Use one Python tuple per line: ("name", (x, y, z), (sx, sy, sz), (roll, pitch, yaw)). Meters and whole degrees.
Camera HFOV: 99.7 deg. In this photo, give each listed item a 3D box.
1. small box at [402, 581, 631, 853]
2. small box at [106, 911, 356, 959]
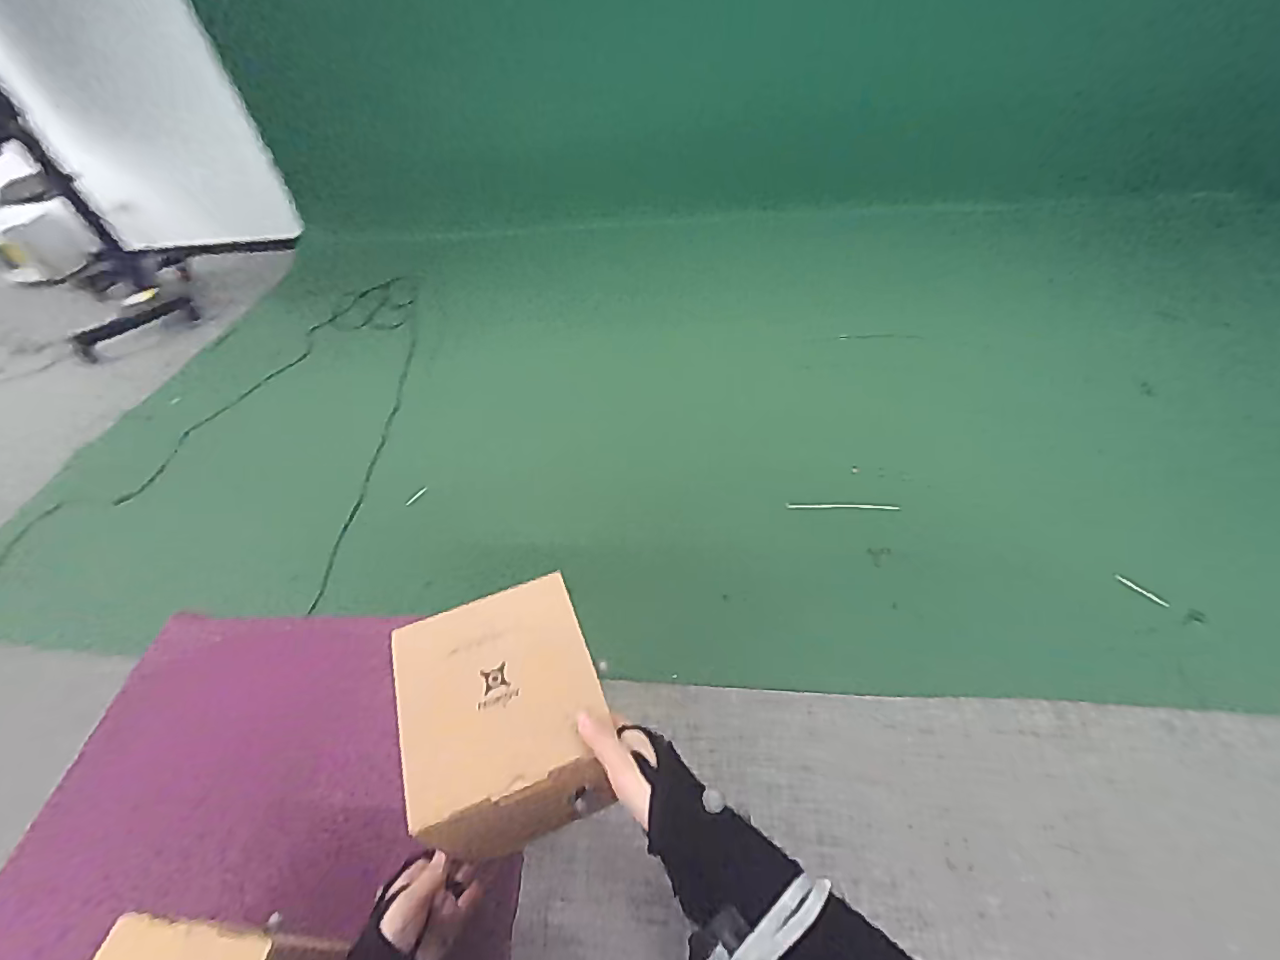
("small box", (-0.114, 0.234, 0.527), (0.168, 0.176, 0.179), (-17, 49, -11))
("small box", (-0.407, 0.535, 0.508), (0.168, 0.176, 0.179), (2, 48, 10))
